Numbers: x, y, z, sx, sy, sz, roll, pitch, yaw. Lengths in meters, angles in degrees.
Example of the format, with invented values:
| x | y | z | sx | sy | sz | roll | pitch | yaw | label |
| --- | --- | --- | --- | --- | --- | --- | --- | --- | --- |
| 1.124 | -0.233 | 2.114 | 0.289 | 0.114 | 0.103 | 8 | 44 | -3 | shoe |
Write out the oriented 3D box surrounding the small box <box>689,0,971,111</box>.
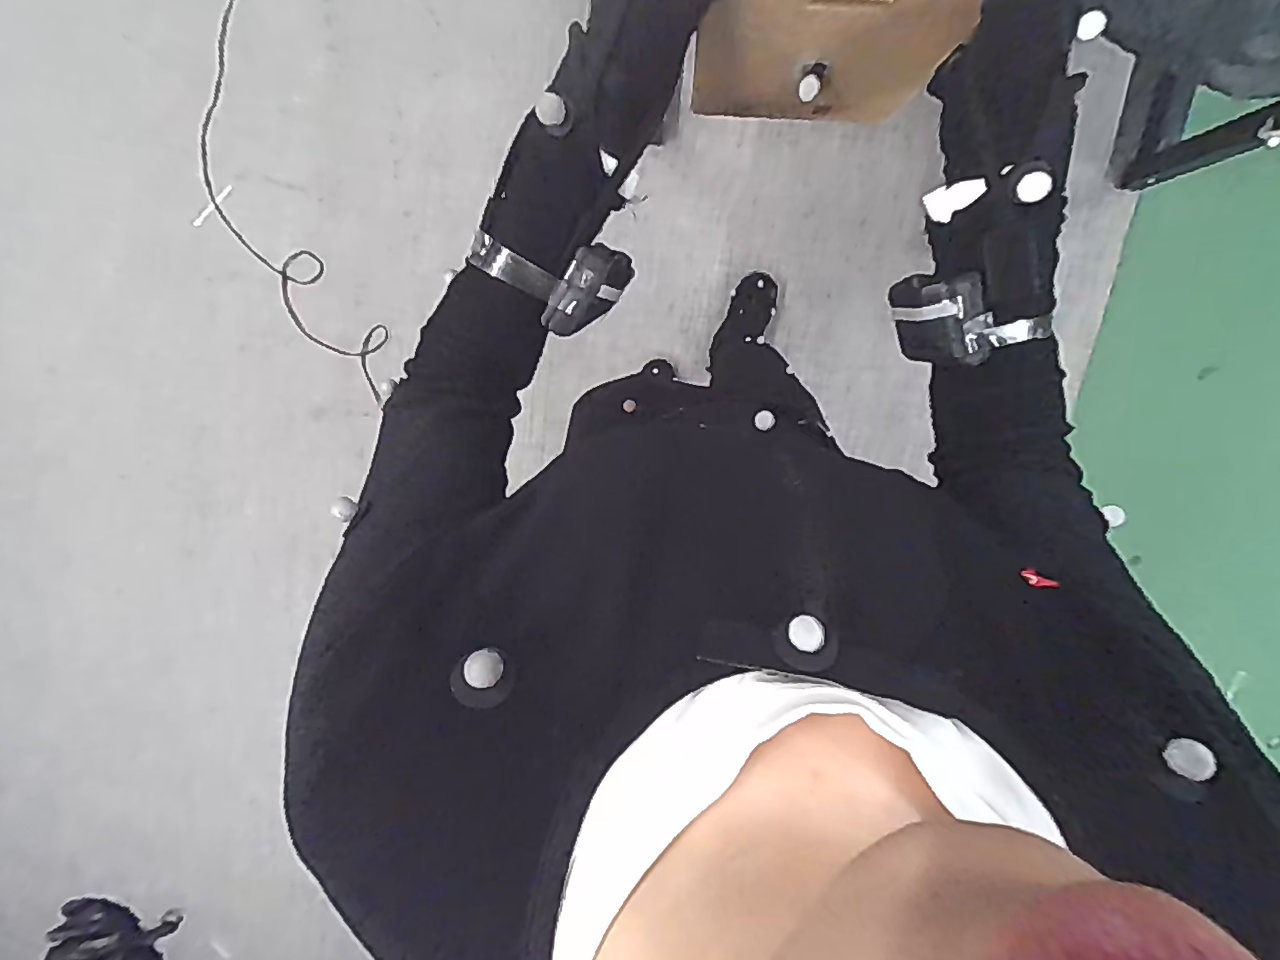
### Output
| x | y | z | sx | sy | sz | roll | pitch | yaw | label |
| --- | --- | --- | --- | --- | --- | --- | --- | --- | --- |
| 0.121 | -0.373 | 0.355 | 0.168 | 0.176 | 0.179 | 4 | 103 | 3 | small box |
